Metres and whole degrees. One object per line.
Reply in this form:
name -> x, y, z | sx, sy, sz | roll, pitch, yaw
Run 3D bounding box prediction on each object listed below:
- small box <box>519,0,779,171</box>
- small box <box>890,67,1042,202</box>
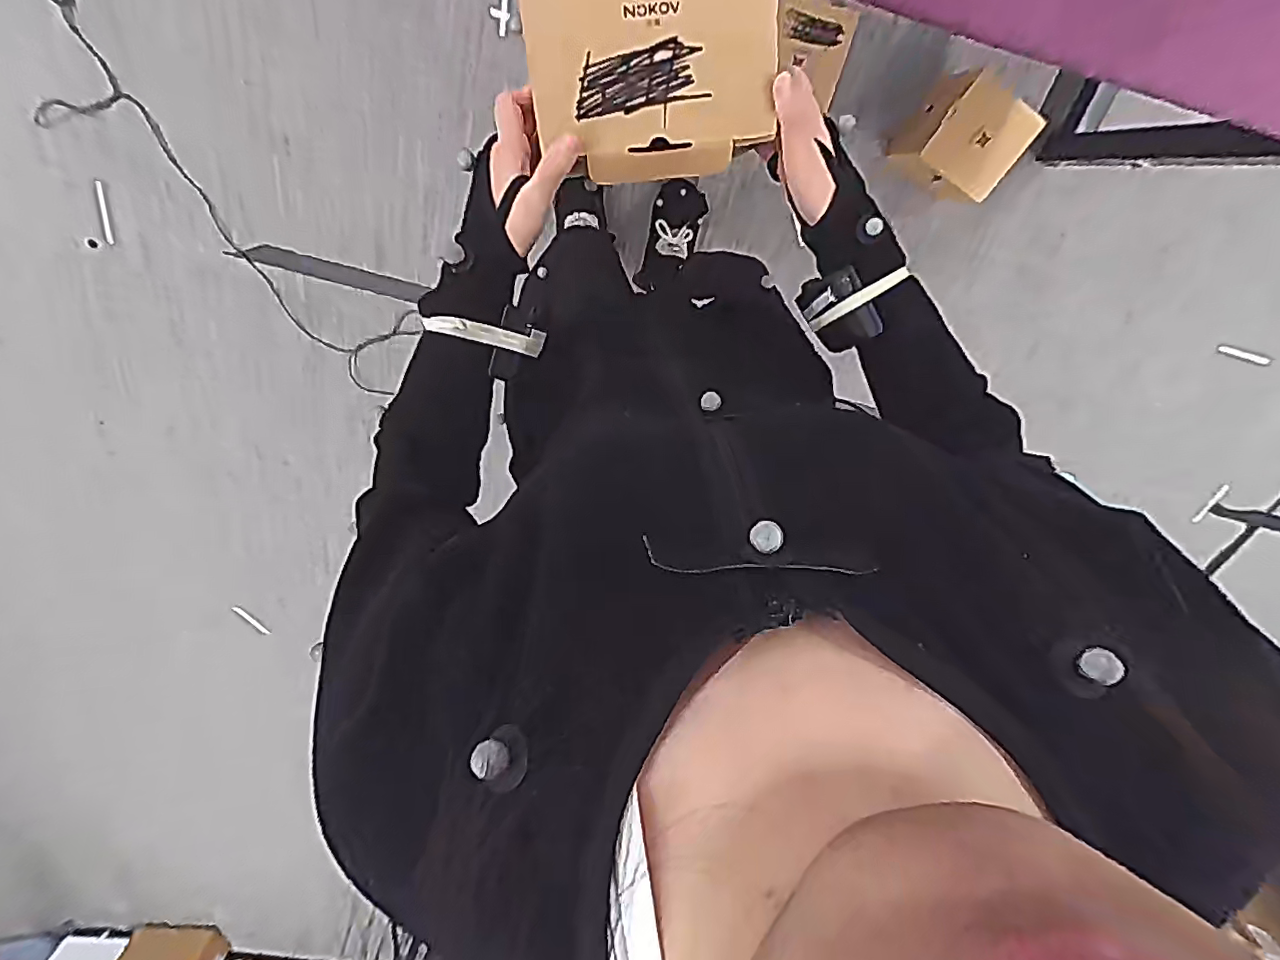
small box -> 0.001, -0.340, 0.407 | 0.168, 0.176, 0.179 | -7, 116, -2
small box -> 0.665, -0.711, 1.124 | 0.179, 0.176, 0.168 | 28, 117, -14
